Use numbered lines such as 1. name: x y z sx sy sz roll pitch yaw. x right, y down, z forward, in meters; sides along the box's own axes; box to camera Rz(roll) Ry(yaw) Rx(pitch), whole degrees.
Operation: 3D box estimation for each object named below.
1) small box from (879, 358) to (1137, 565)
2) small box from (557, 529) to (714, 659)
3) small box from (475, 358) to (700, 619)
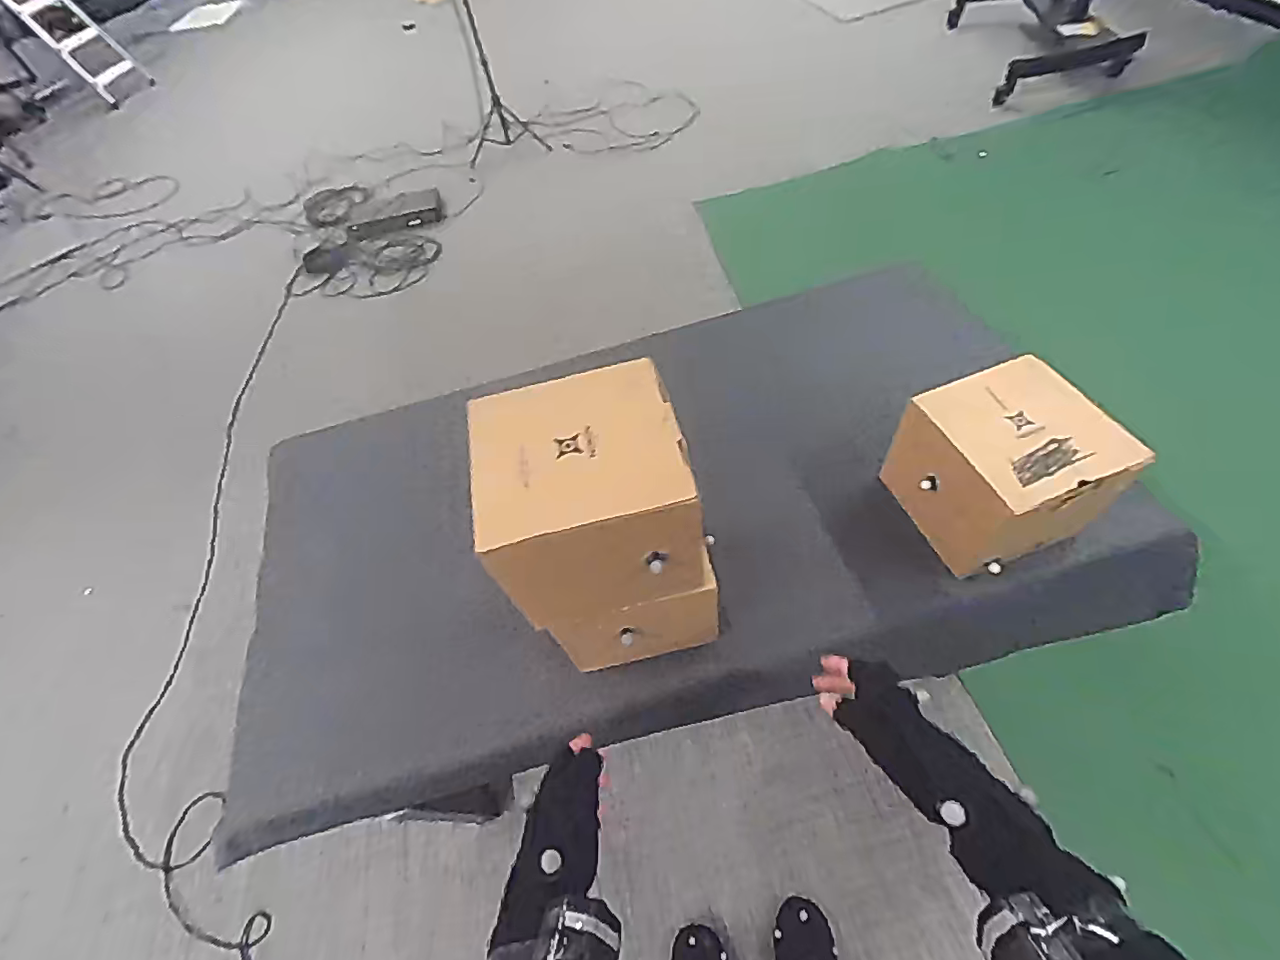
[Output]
1. small box: 0.430 -0.013 0.671 0.168 0.176 0.179 -19 55 -4
2. small box: -0.014 0.103 0.661 0.179 0.176 0.168 -13 55 0
3. small box: -0.045 0.014 0.528 0.179 0.176 0.168 -15 54 -1
